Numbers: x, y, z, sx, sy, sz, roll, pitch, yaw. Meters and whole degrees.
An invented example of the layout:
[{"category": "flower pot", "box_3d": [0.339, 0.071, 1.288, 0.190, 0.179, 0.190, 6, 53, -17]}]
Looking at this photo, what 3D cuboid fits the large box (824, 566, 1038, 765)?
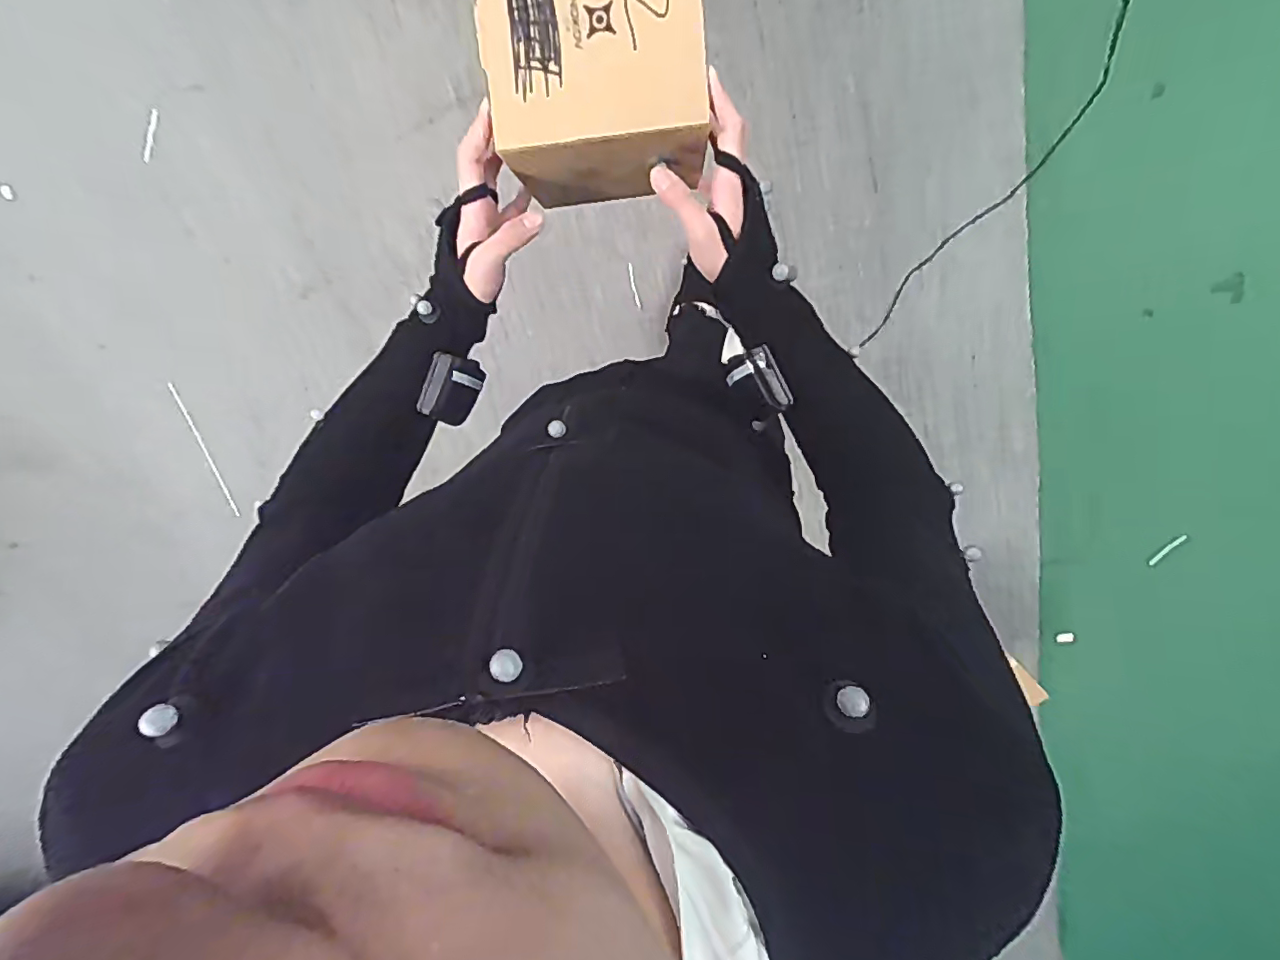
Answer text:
[{"category": "large box", "box_3d": [0.831, 0.538, 1.609, 0.320, 0.320, 0.408, 44, 107, -10]}]
